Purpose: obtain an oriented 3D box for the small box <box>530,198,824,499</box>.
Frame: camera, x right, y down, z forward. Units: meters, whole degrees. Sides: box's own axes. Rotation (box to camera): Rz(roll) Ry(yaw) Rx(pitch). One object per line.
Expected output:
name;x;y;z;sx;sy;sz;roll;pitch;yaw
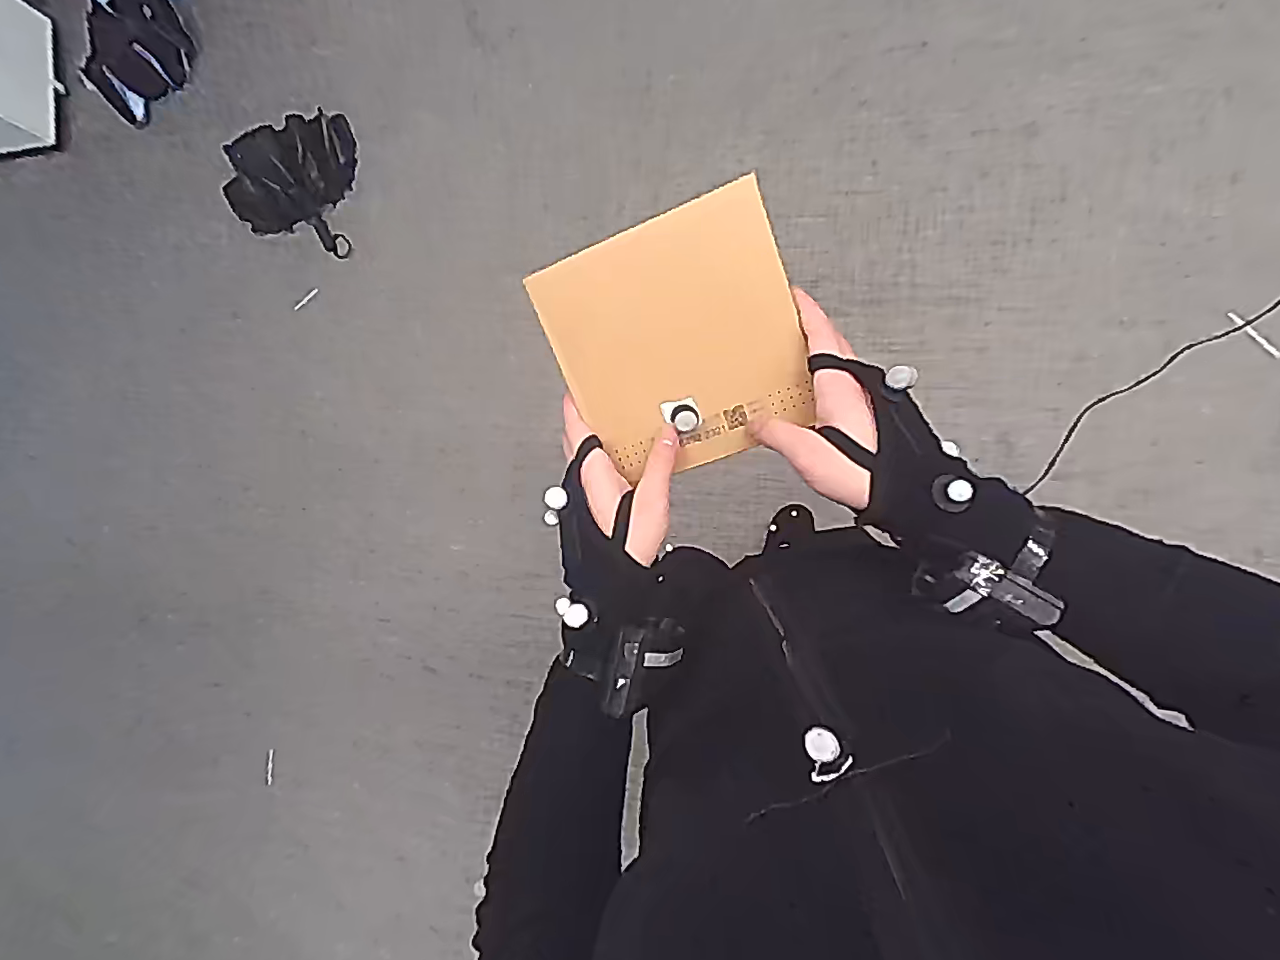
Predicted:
small box;0.037;-0.100;0.456;0.168;0.179;0.176;-21;102;11
